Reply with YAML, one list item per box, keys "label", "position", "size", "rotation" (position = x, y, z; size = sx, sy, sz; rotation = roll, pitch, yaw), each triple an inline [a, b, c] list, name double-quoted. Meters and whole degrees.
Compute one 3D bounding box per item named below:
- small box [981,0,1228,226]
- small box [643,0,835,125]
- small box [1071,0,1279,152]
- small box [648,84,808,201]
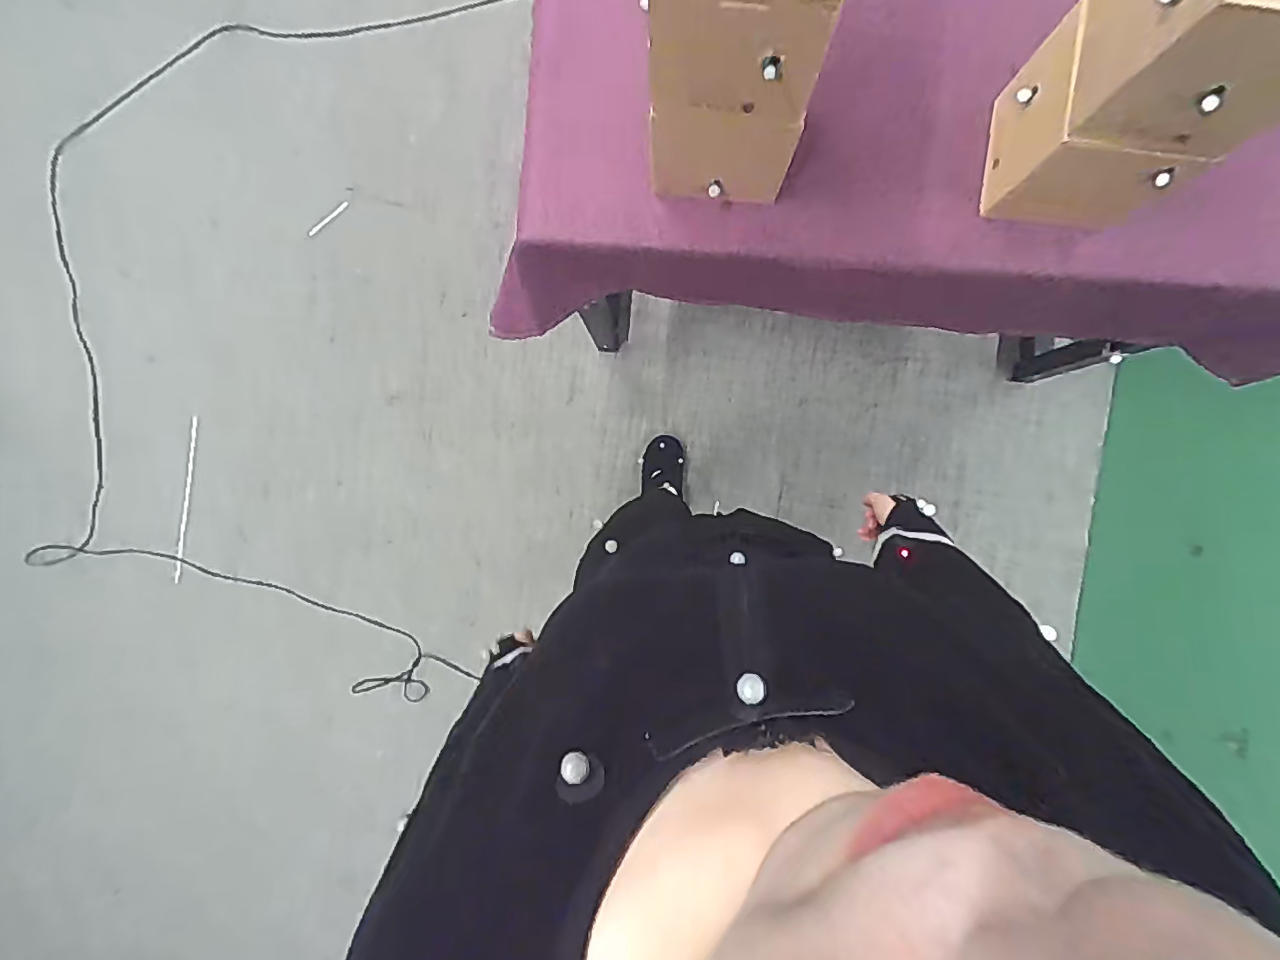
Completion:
- label: "small box"
  position: [0.557, -0.434, 0.662]
  size: [0.179, 0.176, 0.168]
  rotation: [8, 90, 3]
- label: "small box"
  position: [0.100, -0.486, 0.524]
  size: [0.168, 0.176, 0.179]
  rotation: [9, 90, 3]
- label: "small box"
  position: [0.548, -0.441, 0.498]
  size: [0.168, 0.176, 0.179]
  rotation: [10, 90, 3]
- label: "small box"
  position: [0.107, -0.480, 0.687]
  size: [0.179, 0.176, 0.168]
  rotation: [7, 90, 3]
